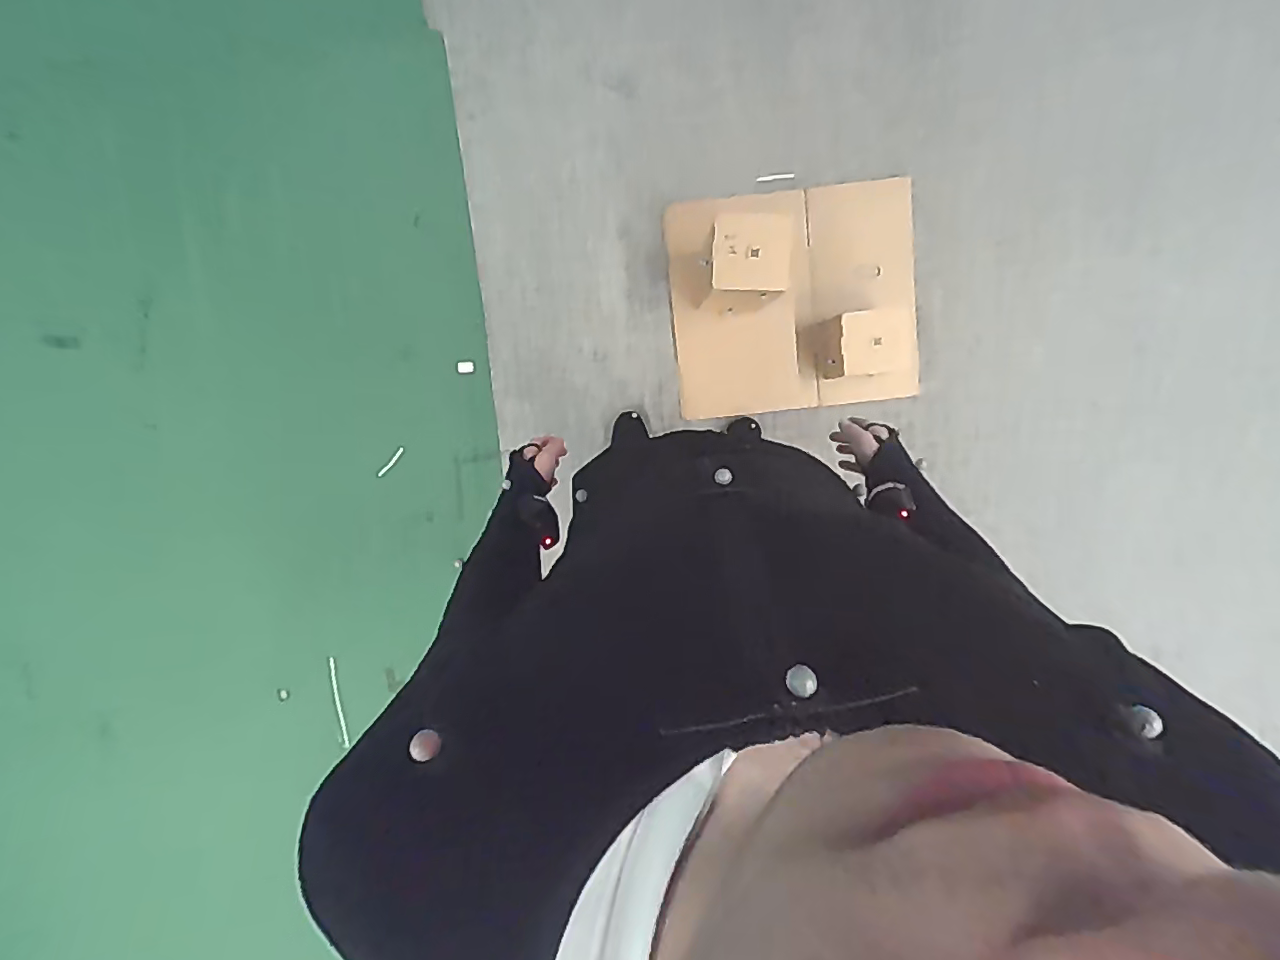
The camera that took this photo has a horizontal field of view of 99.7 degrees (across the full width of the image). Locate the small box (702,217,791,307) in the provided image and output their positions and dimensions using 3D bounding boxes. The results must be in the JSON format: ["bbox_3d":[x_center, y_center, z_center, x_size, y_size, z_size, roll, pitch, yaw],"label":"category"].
[{"bbox_3d":[0.250,-0.517,1.302,0.179,0.176,0.168,2,97,1],"label":"small box"}]

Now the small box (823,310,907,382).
[{"bbox_3d":[0.610,-0.362,1.486,0.179,0.176,0.168,-5,97,2],"label":"small box"}]

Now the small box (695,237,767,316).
[{"bbox_3d":[0.249,-0.545,1.466,0.179,0.176,0.168,2,97,0],"label":"small box"}]
